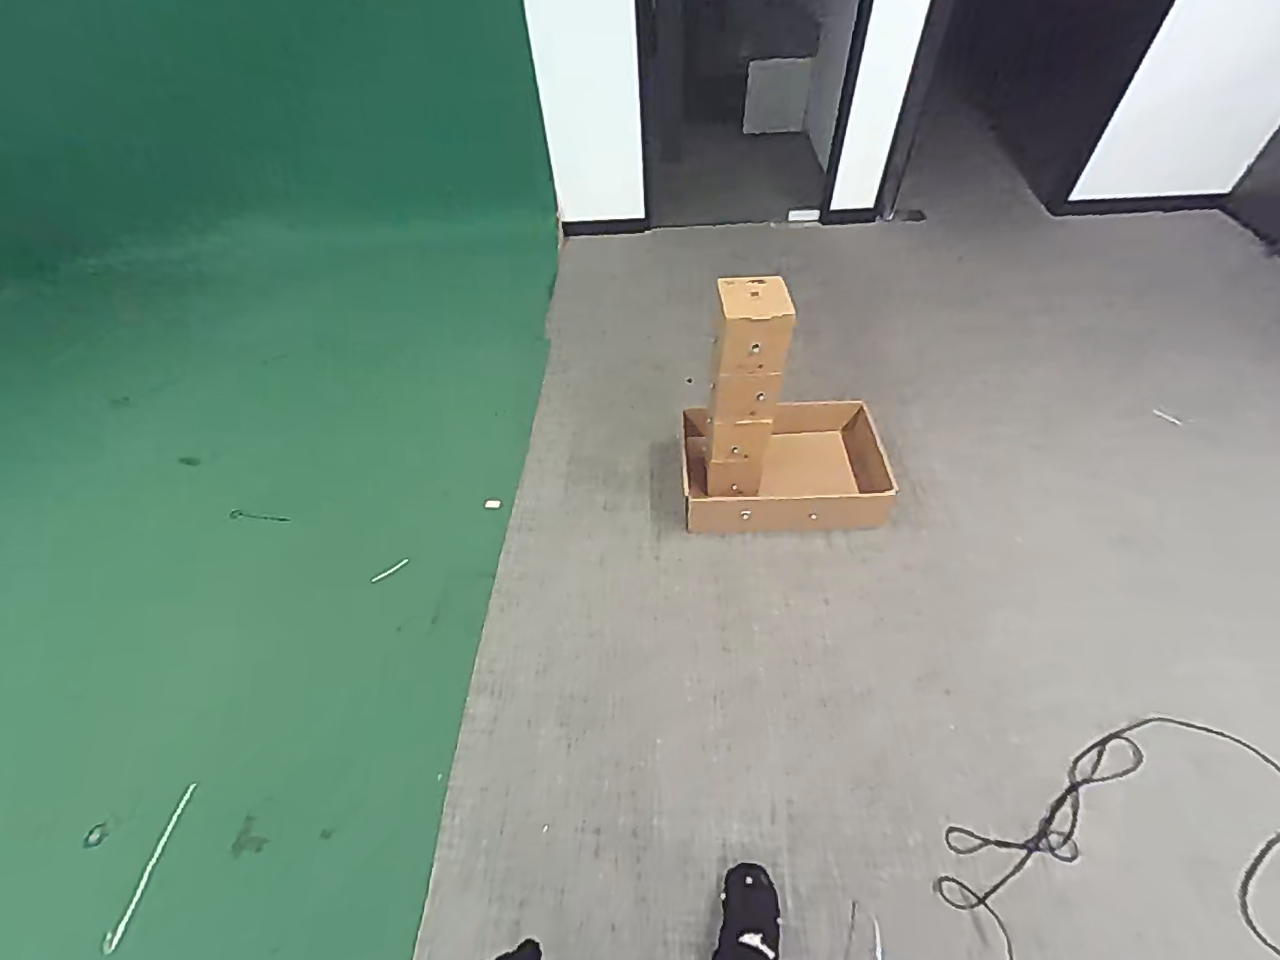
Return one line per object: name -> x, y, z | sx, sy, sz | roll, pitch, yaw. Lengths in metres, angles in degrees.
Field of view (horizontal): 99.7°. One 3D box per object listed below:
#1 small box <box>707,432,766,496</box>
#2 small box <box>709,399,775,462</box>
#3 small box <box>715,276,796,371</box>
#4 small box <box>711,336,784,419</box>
small box -> 0.302, -0.067, 1.728 | 0.168, 0.176, 0.179 | 0, 50, 3
small box -> 0.296, -0.172, 1.605 | 0.168, 0.176, 0.179 | -1, 51, 2
small box -> 0.282, -0.389, 1.359 | 0.168, 0.176, 0.179 | -1, 51, 0
small box -> 0.287, -0.281, 1.483 | 0.168, 0.176, 0.179 | -2, 50, 0
